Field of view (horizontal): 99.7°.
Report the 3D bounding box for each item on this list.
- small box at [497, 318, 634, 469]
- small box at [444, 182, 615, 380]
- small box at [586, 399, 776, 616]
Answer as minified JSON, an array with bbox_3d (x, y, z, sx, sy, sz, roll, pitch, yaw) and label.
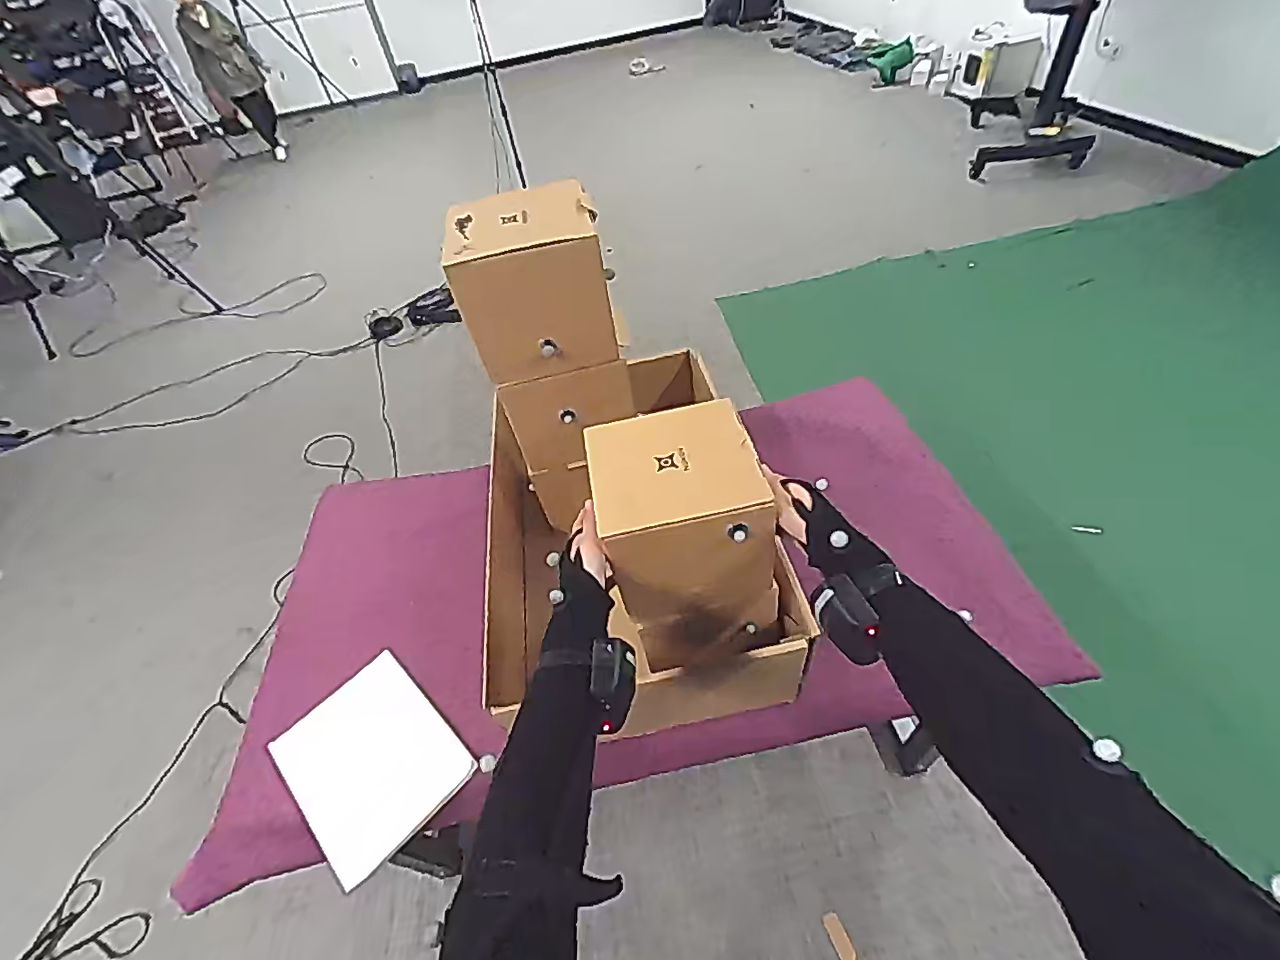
[{"bbox_3d":[-0.108,-0.142,0.815,0.179,0.176,0.168,-14,48,-3],"label":"small box"},{"bbox_3d":[-0.131,-0.252,0.696,0.179,0.176,0.168,-12,48,-2],"label":"small box"},{"bbox_3d":[0.044,0.036,0.619,0.179,0.176,0.168,-11,46,-2],"label":"small box"}]
